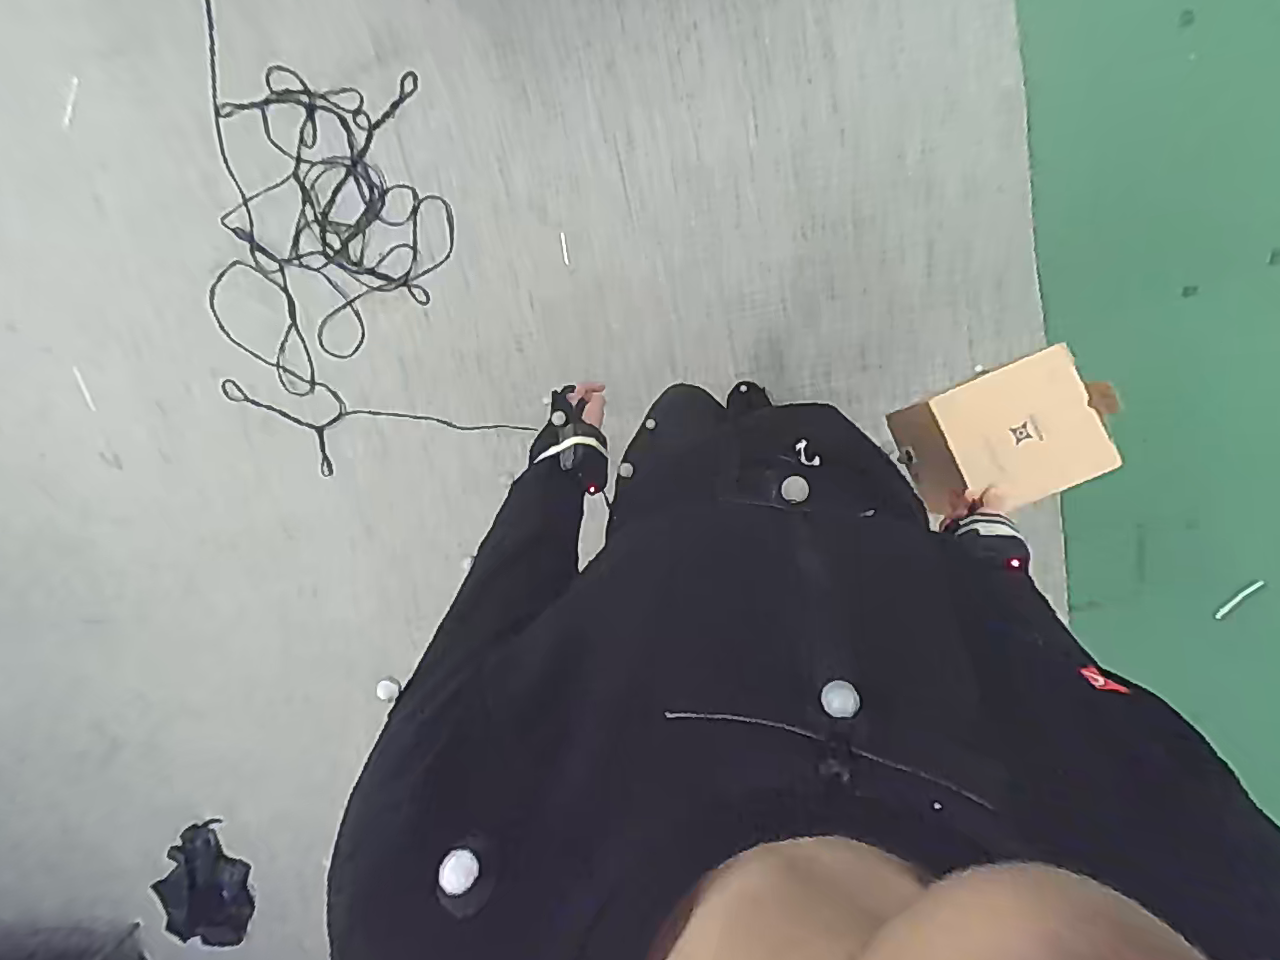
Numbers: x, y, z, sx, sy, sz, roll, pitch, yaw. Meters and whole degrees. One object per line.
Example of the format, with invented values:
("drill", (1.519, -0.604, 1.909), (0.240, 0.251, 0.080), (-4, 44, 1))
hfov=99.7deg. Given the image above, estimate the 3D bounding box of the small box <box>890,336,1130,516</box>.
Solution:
("small box", (0.472, -0.064, 0.722), (0.179, 0.176, 0.168), (-25, 86, 6))
